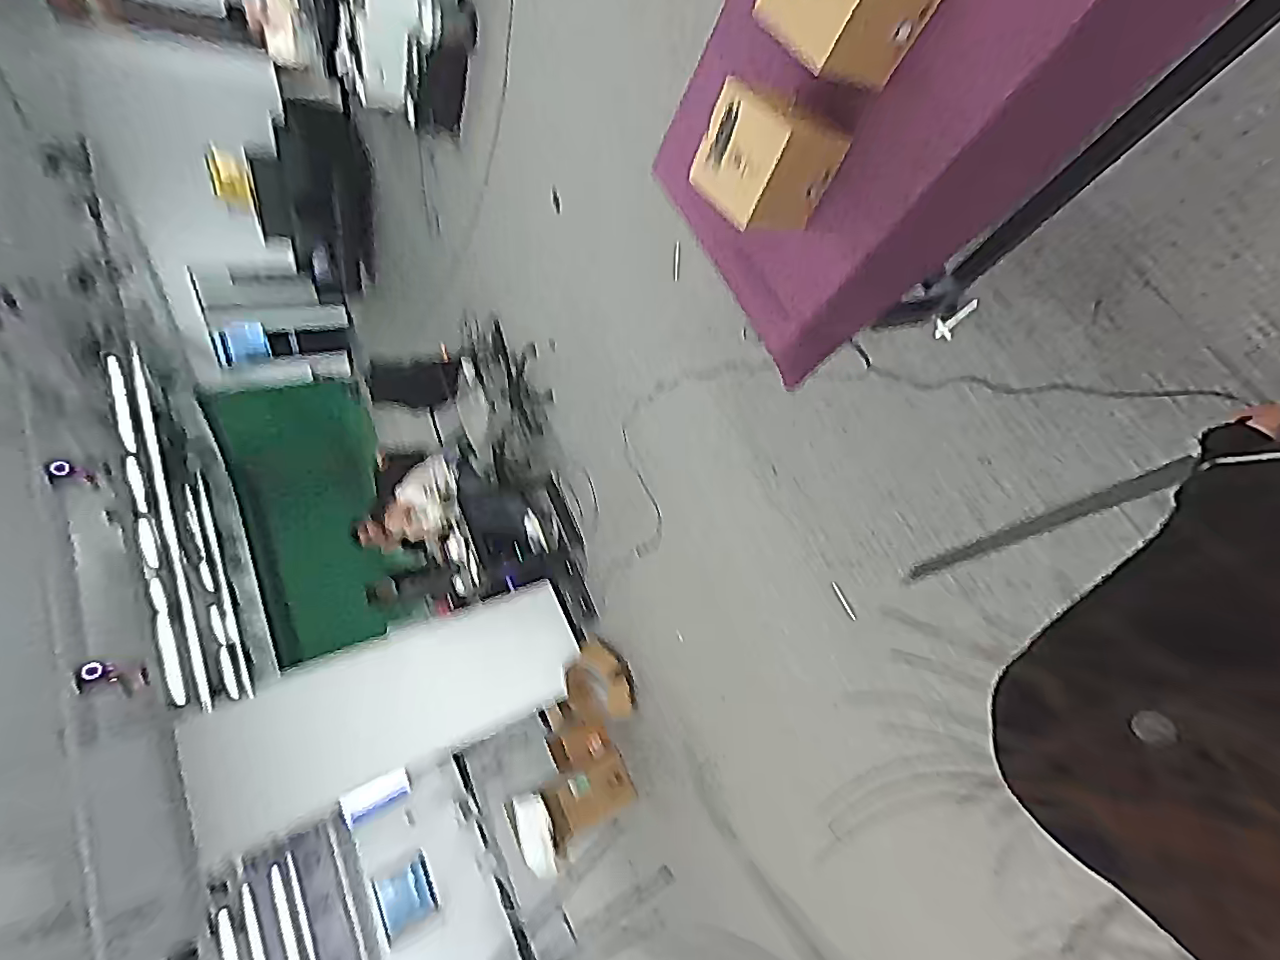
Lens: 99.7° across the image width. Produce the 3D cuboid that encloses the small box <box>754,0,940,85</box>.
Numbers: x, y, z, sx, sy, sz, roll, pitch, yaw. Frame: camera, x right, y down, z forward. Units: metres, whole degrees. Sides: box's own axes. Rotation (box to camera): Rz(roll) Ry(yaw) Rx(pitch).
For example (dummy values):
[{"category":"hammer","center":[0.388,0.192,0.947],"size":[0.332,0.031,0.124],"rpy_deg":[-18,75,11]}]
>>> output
[{"category":"small box","center":[0.311,-0.722,0.798],"size":[0.179,0.176,0.168],"rpy_deg":[60,145,20]}]
